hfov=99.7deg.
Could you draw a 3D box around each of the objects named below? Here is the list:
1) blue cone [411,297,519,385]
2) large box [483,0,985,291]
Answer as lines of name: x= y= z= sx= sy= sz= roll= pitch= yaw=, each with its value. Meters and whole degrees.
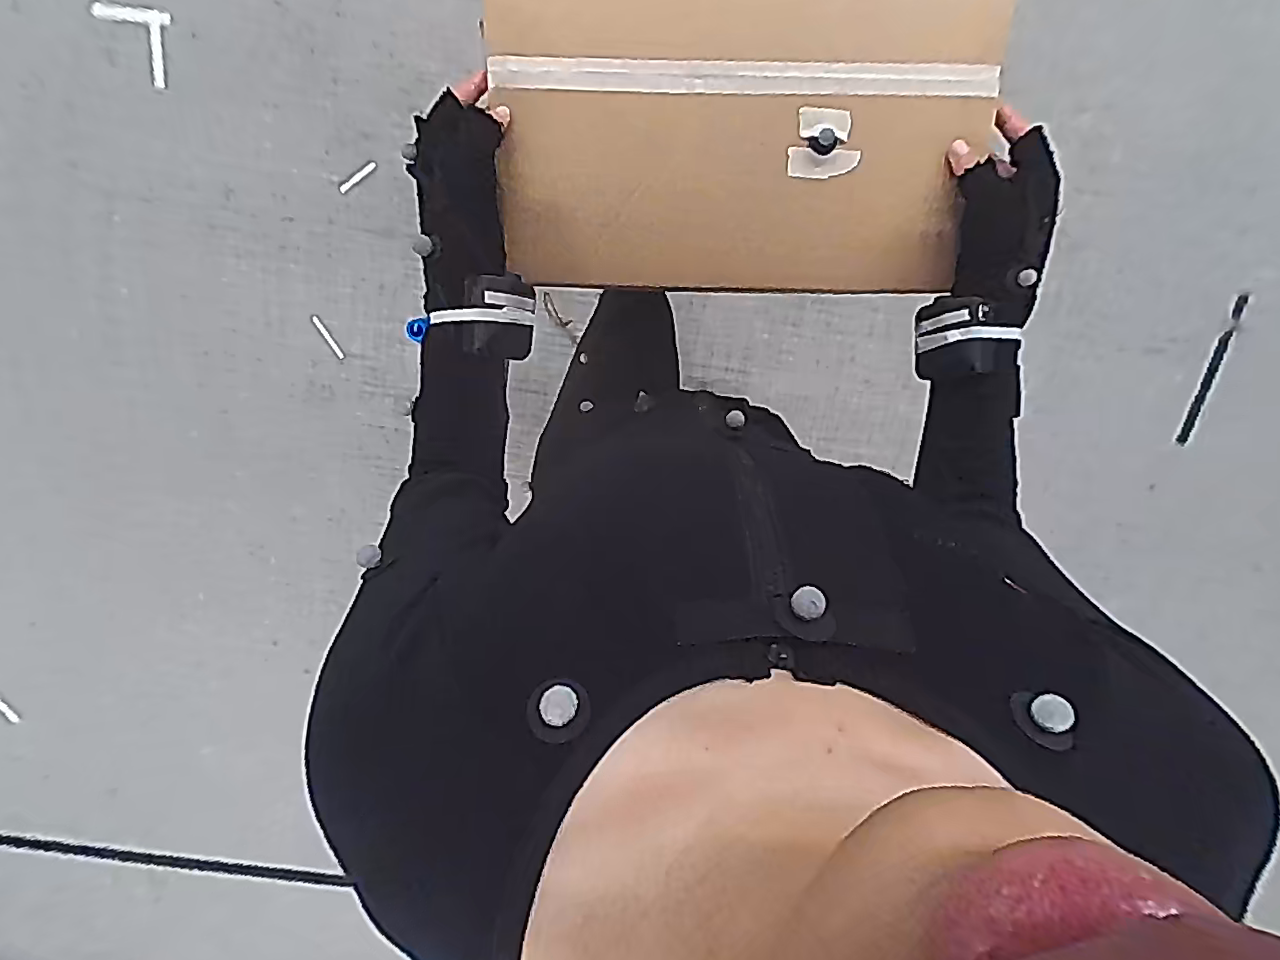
blue cone: x=-0.432 y=-0.327 z=1.258 sx=0.193 sy=0.380 sz=0.192 roll=30 pitch=102 yaw=-5
large box: x=0.071 y=-0.376 z=0.584 sx=0.408 sy=0.320 sz=0.320 roll=0 pitch=109 yaw=-1
